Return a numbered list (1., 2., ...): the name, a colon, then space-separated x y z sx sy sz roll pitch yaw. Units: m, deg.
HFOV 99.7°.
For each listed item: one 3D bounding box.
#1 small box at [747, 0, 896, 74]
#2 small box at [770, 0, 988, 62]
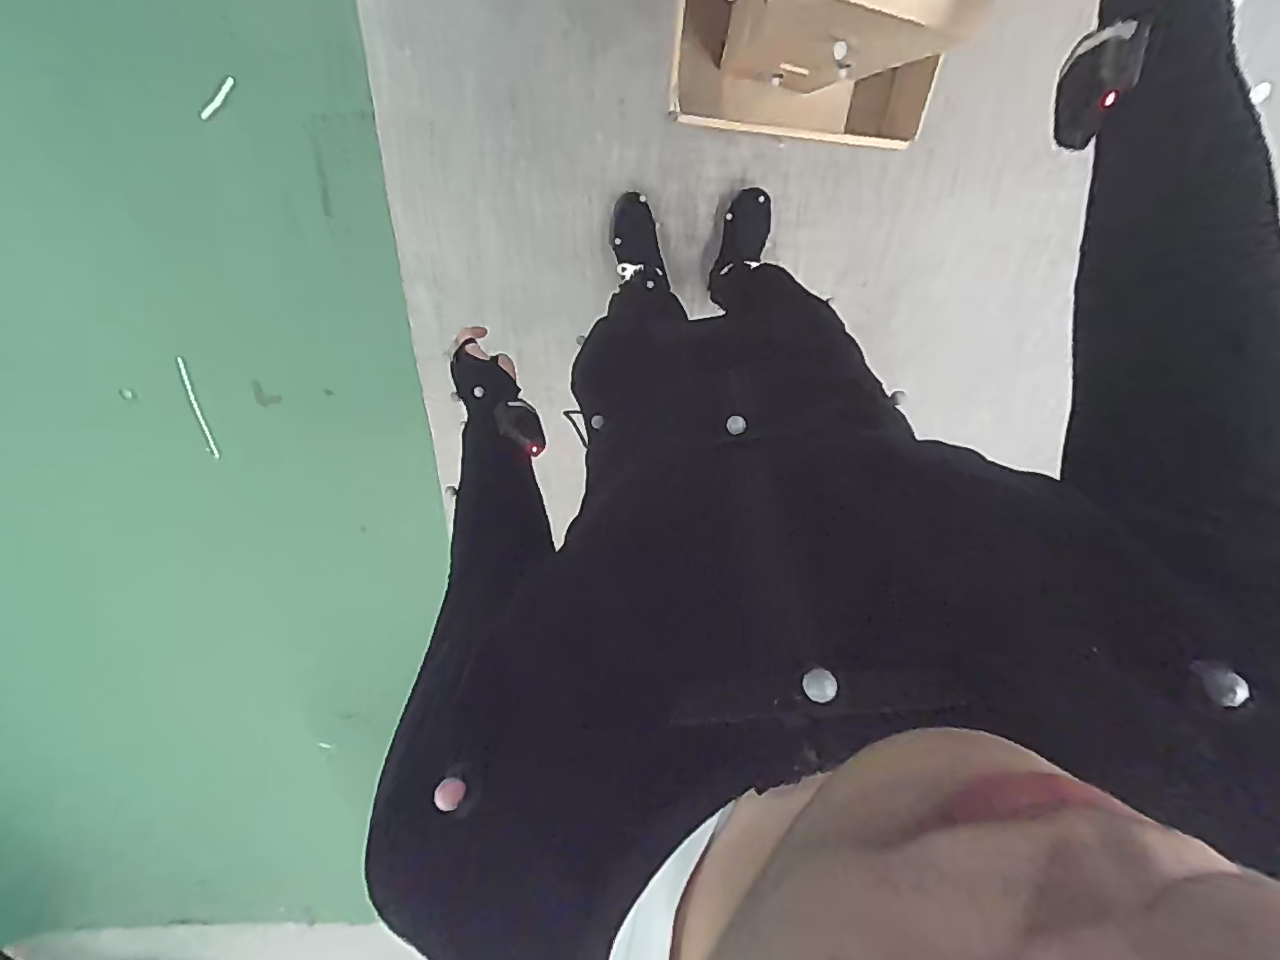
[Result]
1. small box: 0.241 -0.621 0.655 0.168 0.176 0.179 8 119 -9
2. small box: 0.241 -0.535 0.515 0.168 0.176 0.179 8 121 -9
